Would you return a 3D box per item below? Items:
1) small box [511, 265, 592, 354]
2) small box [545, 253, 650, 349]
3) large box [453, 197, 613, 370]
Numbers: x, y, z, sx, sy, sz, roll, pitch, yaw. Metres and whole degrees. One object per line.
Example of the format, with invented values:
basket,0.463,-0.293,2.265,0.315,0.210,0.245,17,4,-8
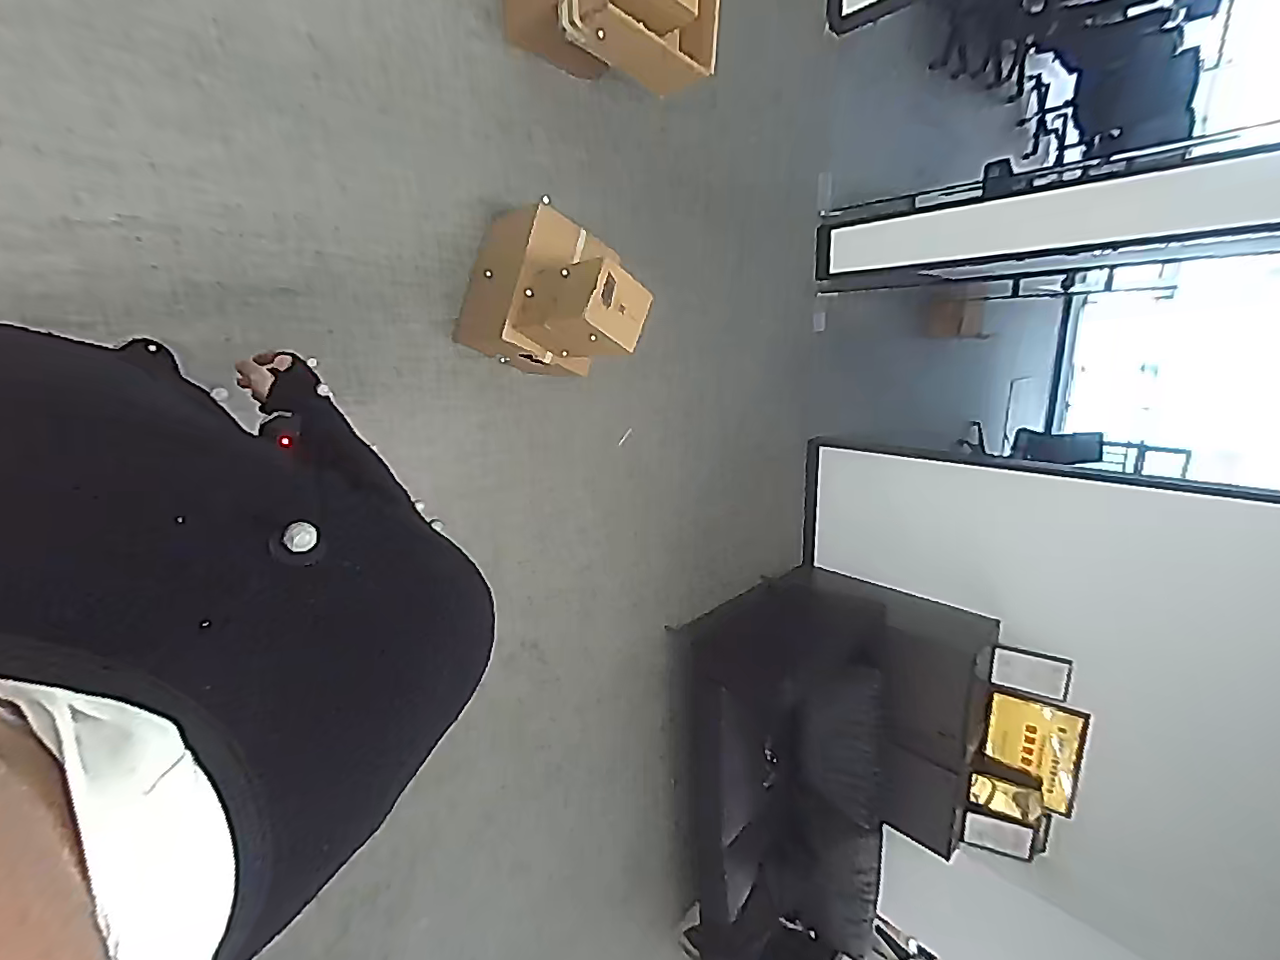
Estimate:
small box,-0.219,-0.463,1.487,0.179,0.176,0.168,25,81,-43
small box,-0.111,-0.441,1.366,0.179,0.176,0.168,26,81,-44
large box,-0.338,-0.582,1.689,0.320,0.320,0.408,16,87,-46
